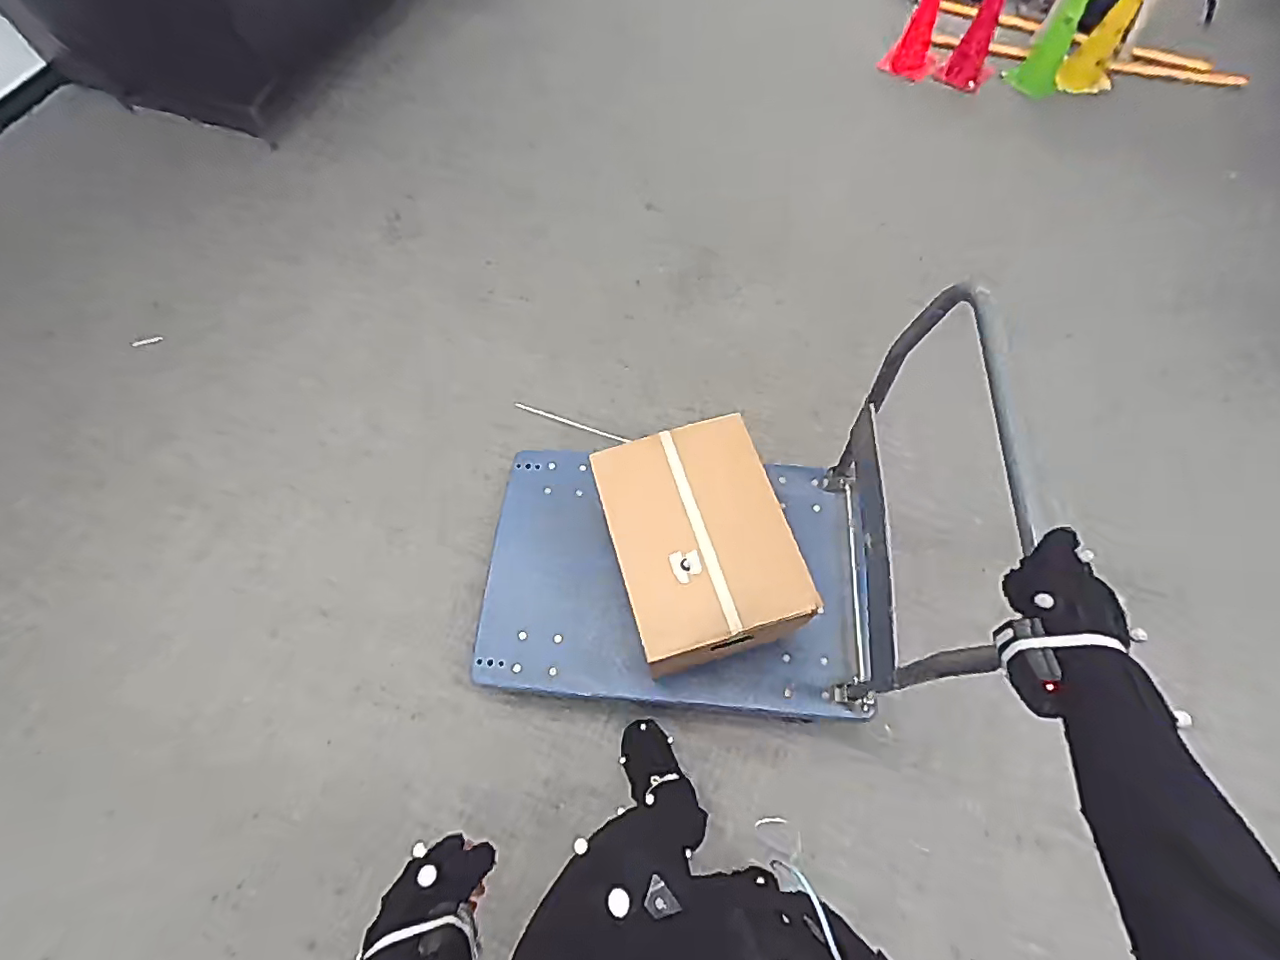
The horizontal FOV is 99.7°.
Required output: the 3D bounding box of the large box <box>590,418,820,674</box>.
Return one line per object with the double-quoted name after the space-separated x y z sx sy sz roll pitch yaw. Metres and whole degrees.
0.109 0.147 1.126 0.320 0.320 0.408 -17 66 -5 "large box"
